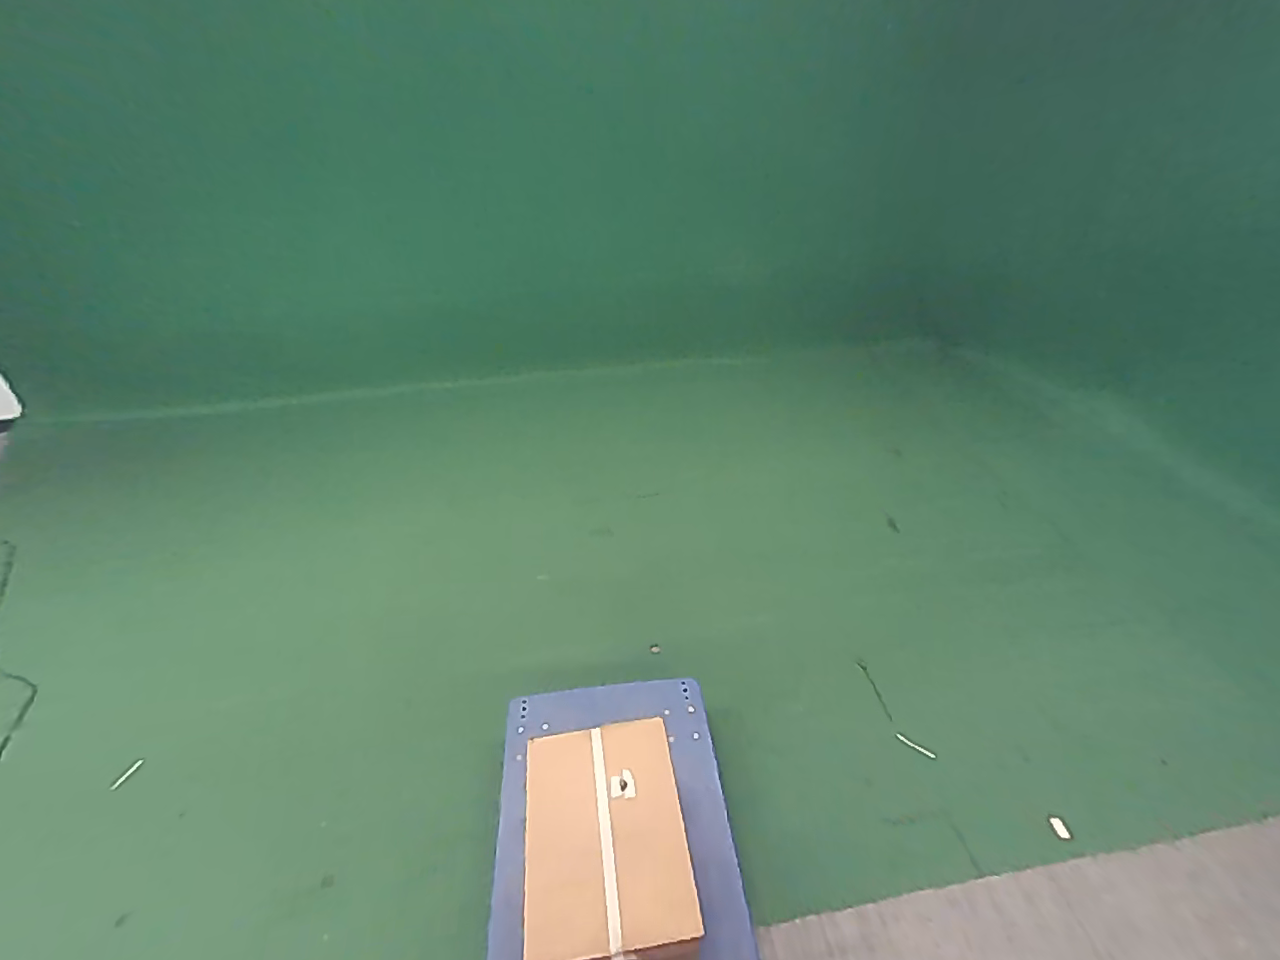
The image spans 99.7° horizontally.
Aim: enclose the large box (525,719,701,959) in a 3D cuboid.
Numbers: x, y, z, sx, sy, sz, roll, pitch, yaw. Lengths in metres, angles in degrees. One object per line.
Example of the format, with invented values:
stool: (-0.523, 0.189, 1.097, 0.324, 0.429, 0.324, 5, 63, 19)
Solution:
large box: (-0.067, 0.809, 1.174, 0.320, 0.320, 0.408, -7, 37, -6)
